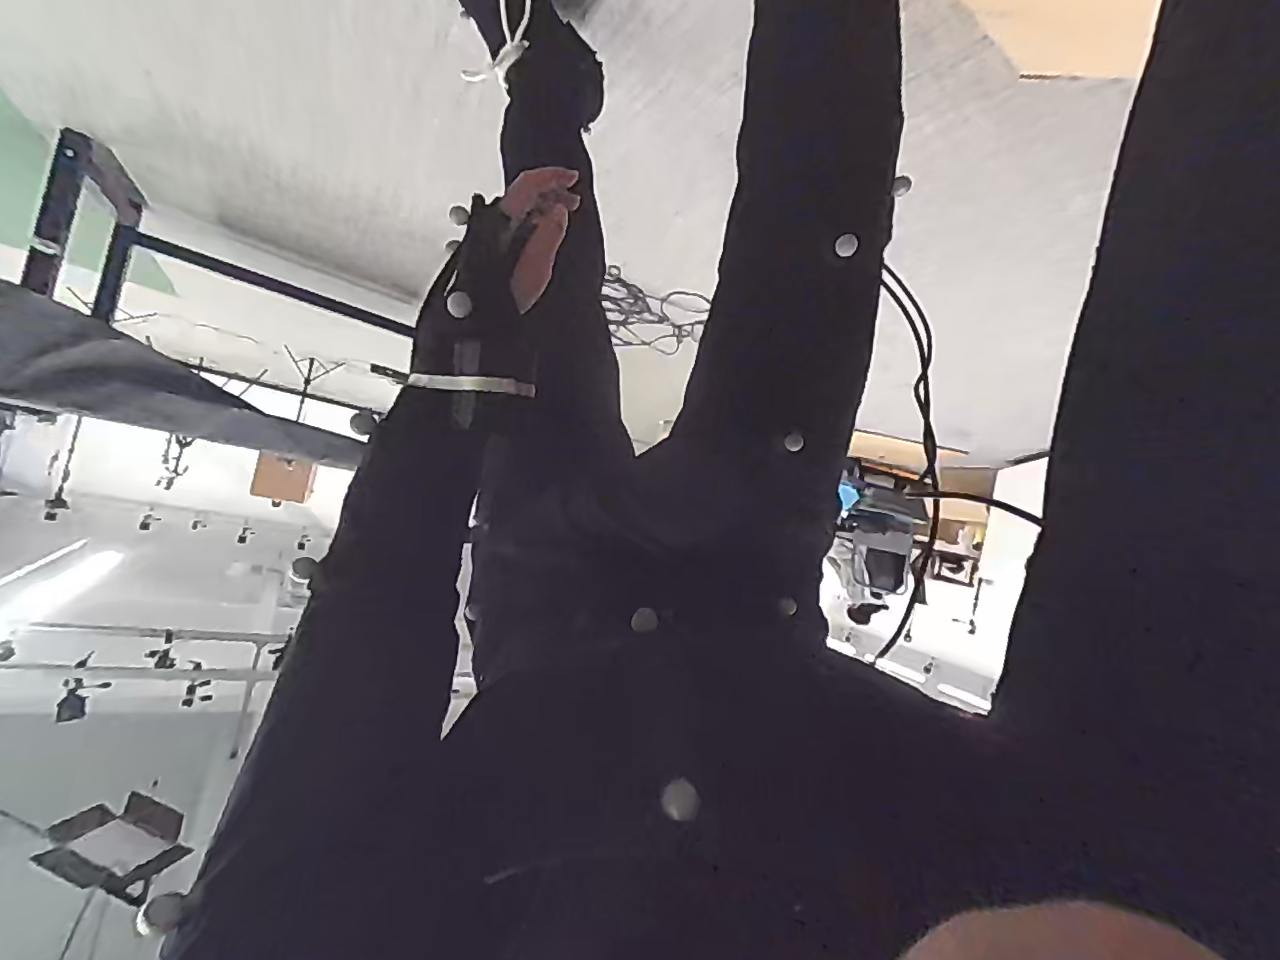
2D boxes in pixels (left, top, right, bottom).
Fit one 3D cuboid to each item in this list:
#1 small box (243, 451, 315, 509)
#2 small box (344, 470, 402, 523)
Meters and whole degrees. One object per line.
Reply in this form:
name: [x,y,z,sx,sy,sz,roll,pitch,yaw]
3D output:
small box: [-1.263,-0.003,1.902,0.168,0.176,0.179,12,177,-25]
small box: [-1.018,0.060,2.062,0.168,0.176,0.179,14,177,-31]
